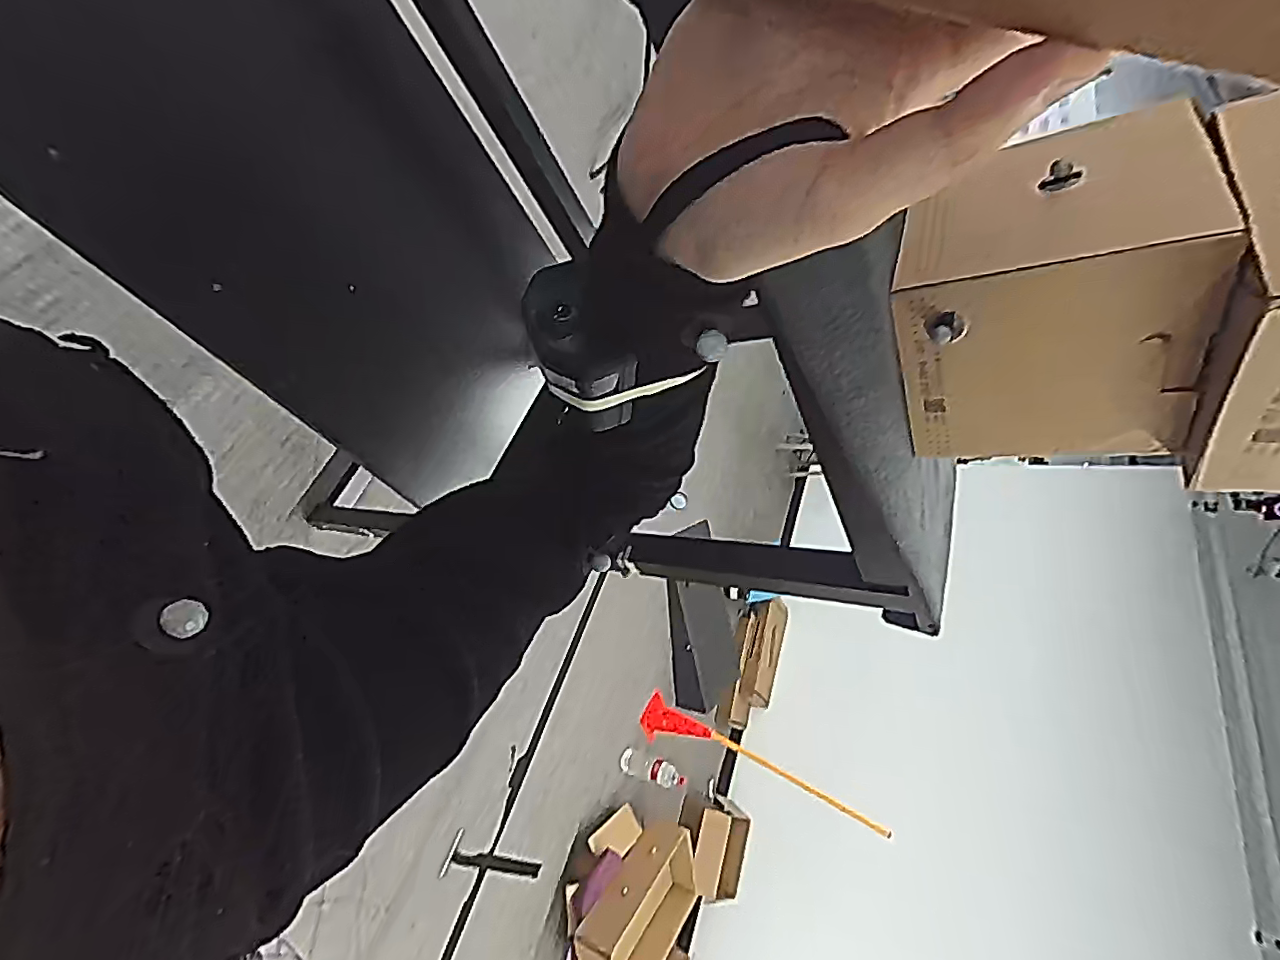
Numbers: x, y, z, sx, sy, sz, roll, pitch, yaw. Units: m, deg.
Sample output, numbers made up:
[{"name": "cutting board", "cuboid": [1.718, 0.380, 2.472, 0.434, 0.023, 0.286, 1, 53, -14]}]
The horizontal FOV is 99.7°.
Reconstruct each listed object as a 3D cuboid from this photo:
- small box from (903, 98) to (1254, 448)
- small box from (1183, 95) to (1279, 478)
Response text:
[{"name": "small box", "cuboid": [0.302, -0.138, 0.409, 0.168, 0.176, 0.179, 57, 45, -40]}, {"name": "small box", "cuboid": [0.426, -0.111, 0.303, 0.168, 0.176, 0.179, 51, 50, -45]}]
